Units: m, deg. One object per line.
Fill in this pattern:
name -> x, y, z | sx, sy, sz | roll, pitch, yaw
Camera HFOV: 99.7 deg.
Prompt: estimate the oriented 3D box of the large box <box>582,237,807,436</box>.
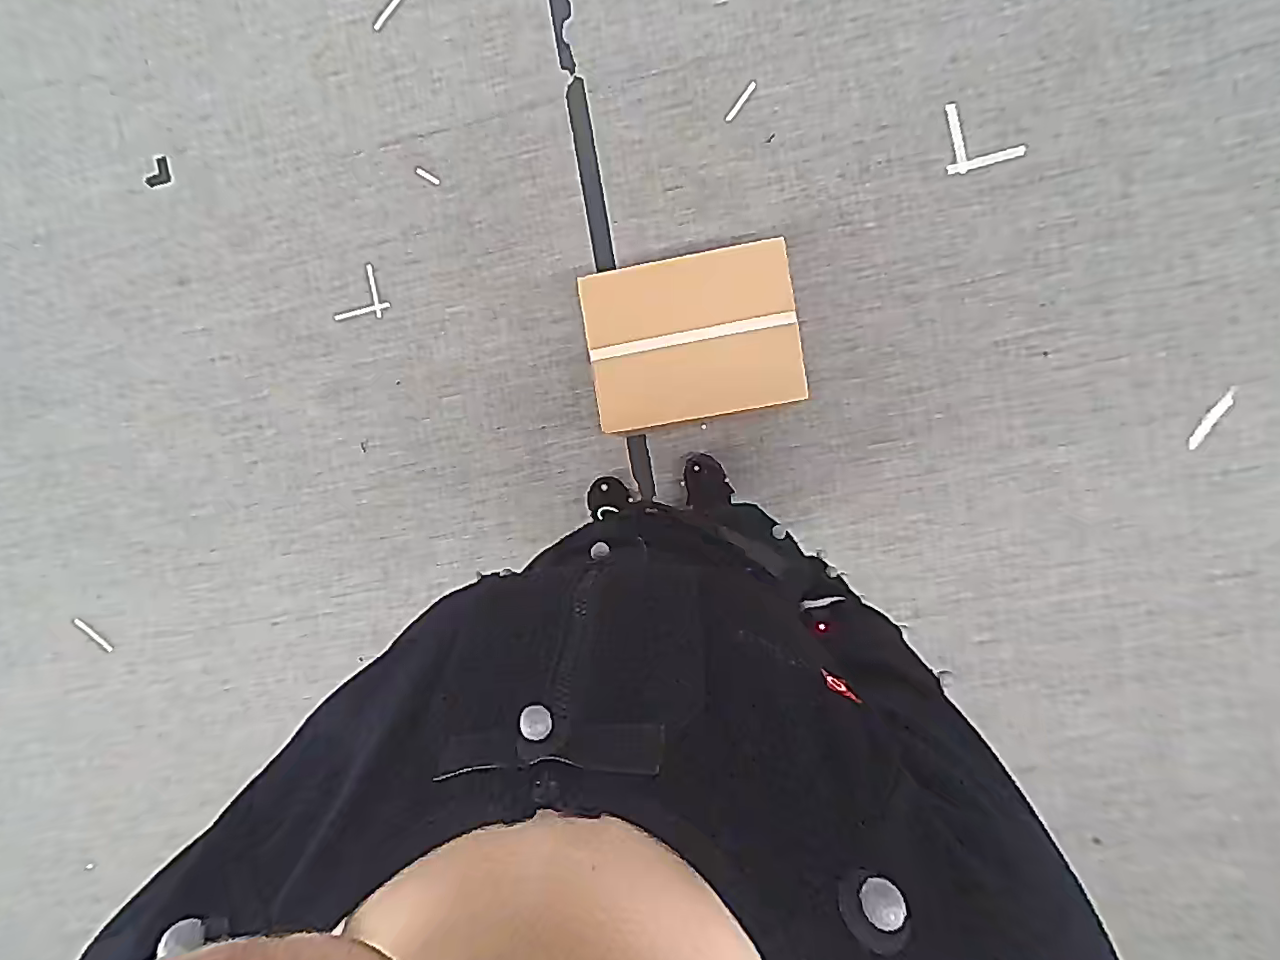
large box -> 0.115, -0.287, 1.201 | 0.408, 0.320, 0.320 | -9, 93, 5
